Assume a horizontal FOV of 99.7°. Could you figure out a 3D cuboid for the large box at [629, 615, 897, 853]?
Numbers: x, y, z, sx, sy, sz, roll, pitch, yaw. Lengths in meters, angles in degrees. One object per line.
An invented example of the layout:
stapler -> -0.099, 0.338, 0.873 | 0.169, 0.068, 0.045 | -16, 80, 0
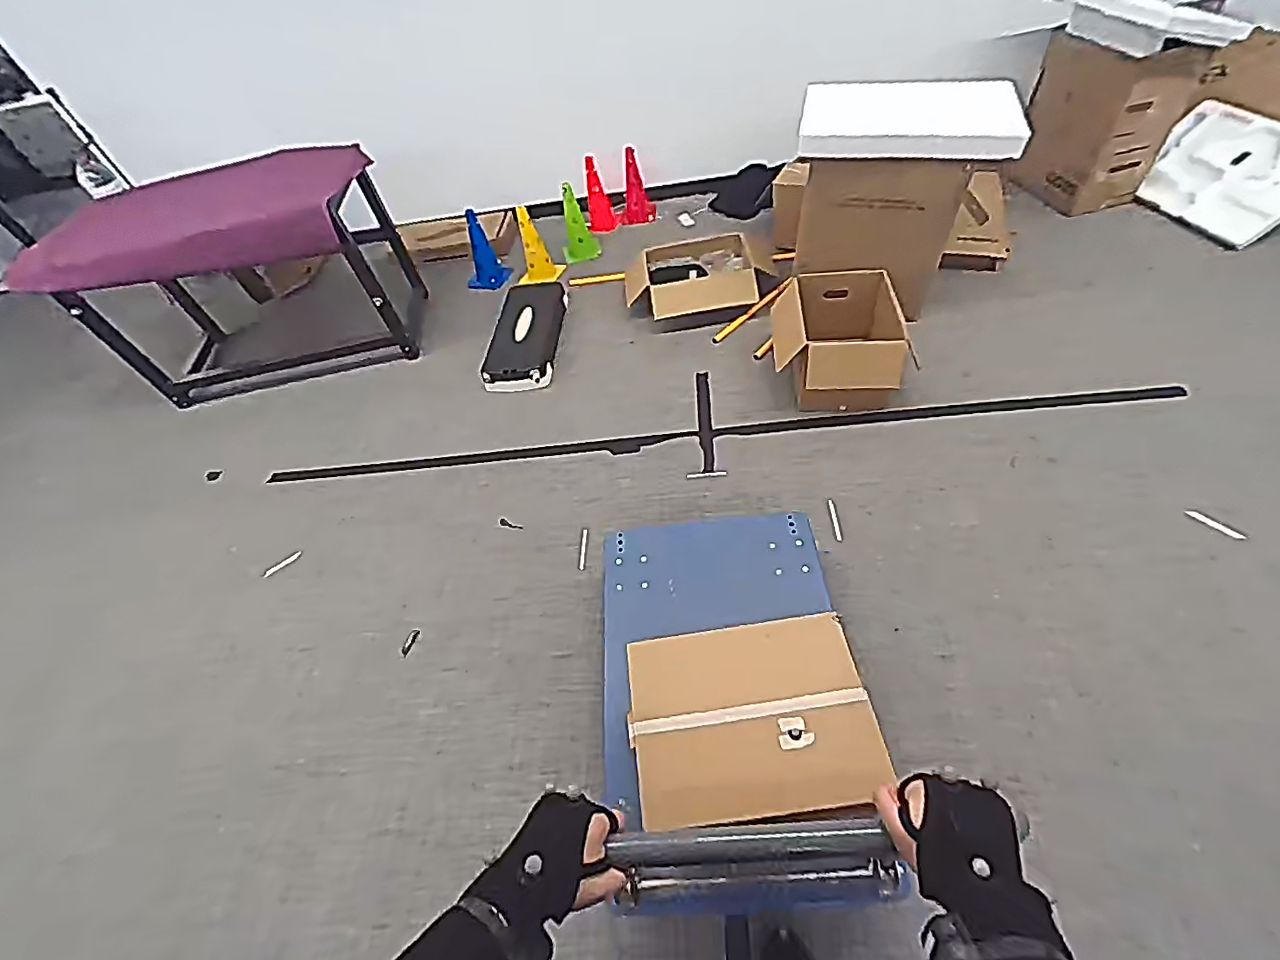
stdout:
large box -> 0.206, 0.500, 1.052 | 0.408, 0.320, 0.320 | -9, 51, 1
